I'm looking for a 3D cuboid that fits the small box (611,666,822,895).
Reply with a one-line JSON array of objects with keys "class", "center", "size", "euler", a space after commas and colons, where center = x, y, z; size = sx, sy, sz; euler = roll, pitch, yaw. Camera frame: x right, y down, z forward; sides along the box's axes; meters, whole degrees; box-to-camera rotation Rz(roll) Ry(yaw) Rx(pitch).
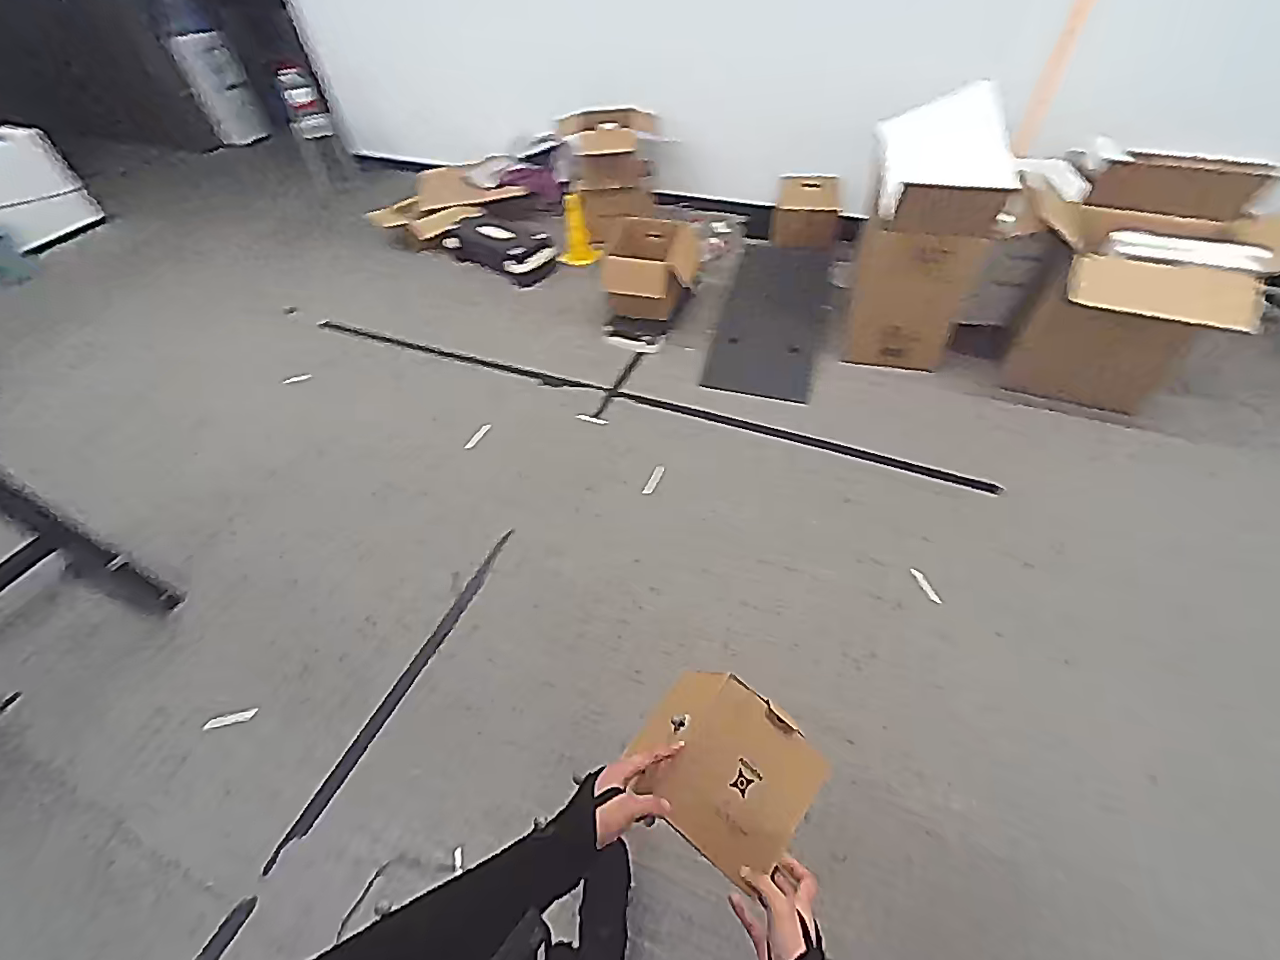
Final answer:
[{"class": "small box", "center": [0.086, 0.358, 0.684], "size": [0.168, 0.176, 0.179], "euler": [41, 64, -1]}]
